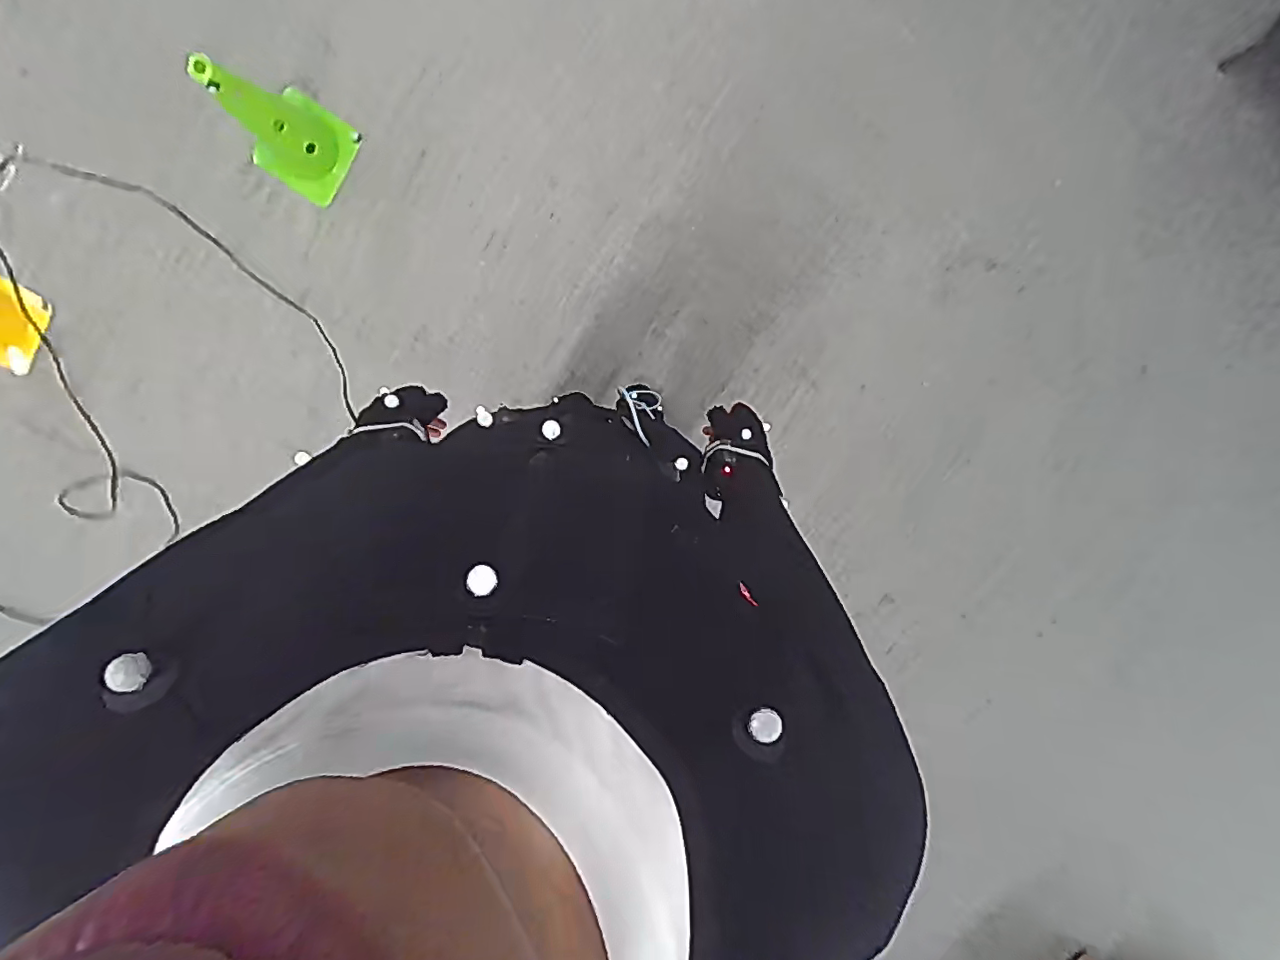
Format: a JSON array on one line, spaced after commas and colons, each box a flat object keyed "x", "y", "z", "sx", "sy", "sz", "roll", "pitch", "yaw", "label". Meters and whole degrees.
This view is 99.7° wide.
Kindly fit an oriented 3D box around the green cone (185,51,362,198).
[{"x": -0.782, "y": -0.772, "z": 1.117, "sx": 0.200, "sy": 0.368, "sz": 0.202, "roll": 32, "pitch": 99, "yaw": -8, "label": "green cone"}]
